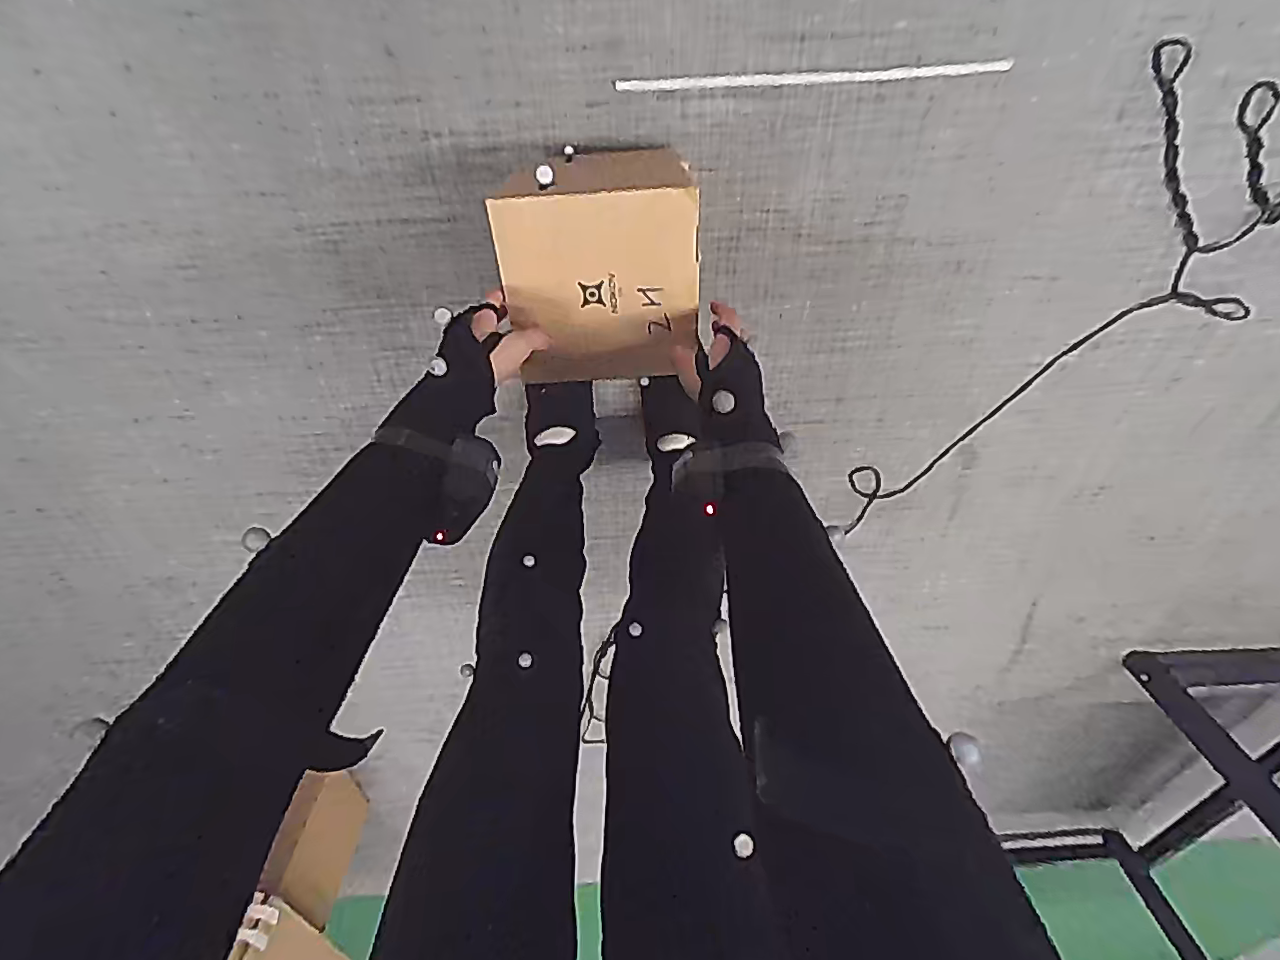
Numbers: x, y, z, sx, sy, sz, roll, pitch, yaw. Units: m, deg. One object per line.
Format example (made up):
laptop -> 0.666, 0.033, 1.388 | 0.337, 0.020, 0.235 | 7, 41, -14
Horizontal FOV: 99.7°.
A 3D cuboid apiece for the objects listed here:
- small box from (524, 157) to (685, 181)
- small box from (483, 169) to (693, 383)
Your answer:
small box -> -0.037, -0.307, 0.687 | 0.179, 0.176, 0.168 | -4, 125, 0
small box -> -0.042, -0.212, 0.552 | 0.179, 0.176, 0.168 | -4, 126, 0
